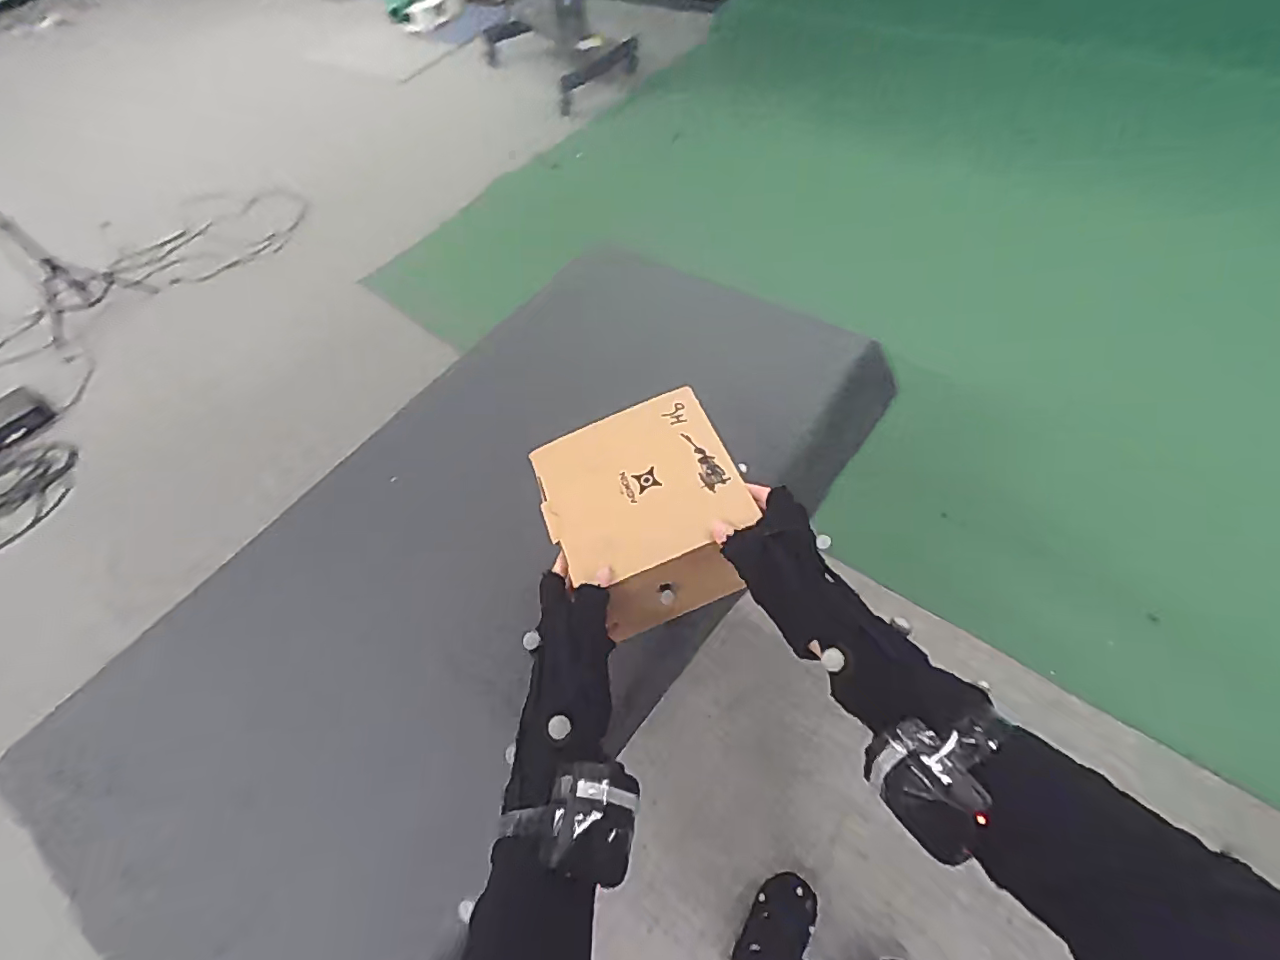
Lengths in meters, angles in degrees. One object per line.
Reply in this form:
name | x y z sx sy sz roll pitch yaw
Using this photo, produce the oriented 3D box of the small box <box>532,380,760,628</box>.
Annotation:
small box | 0.014 0.035 0.559 0.179 0.176 0.168 -22 61 1
